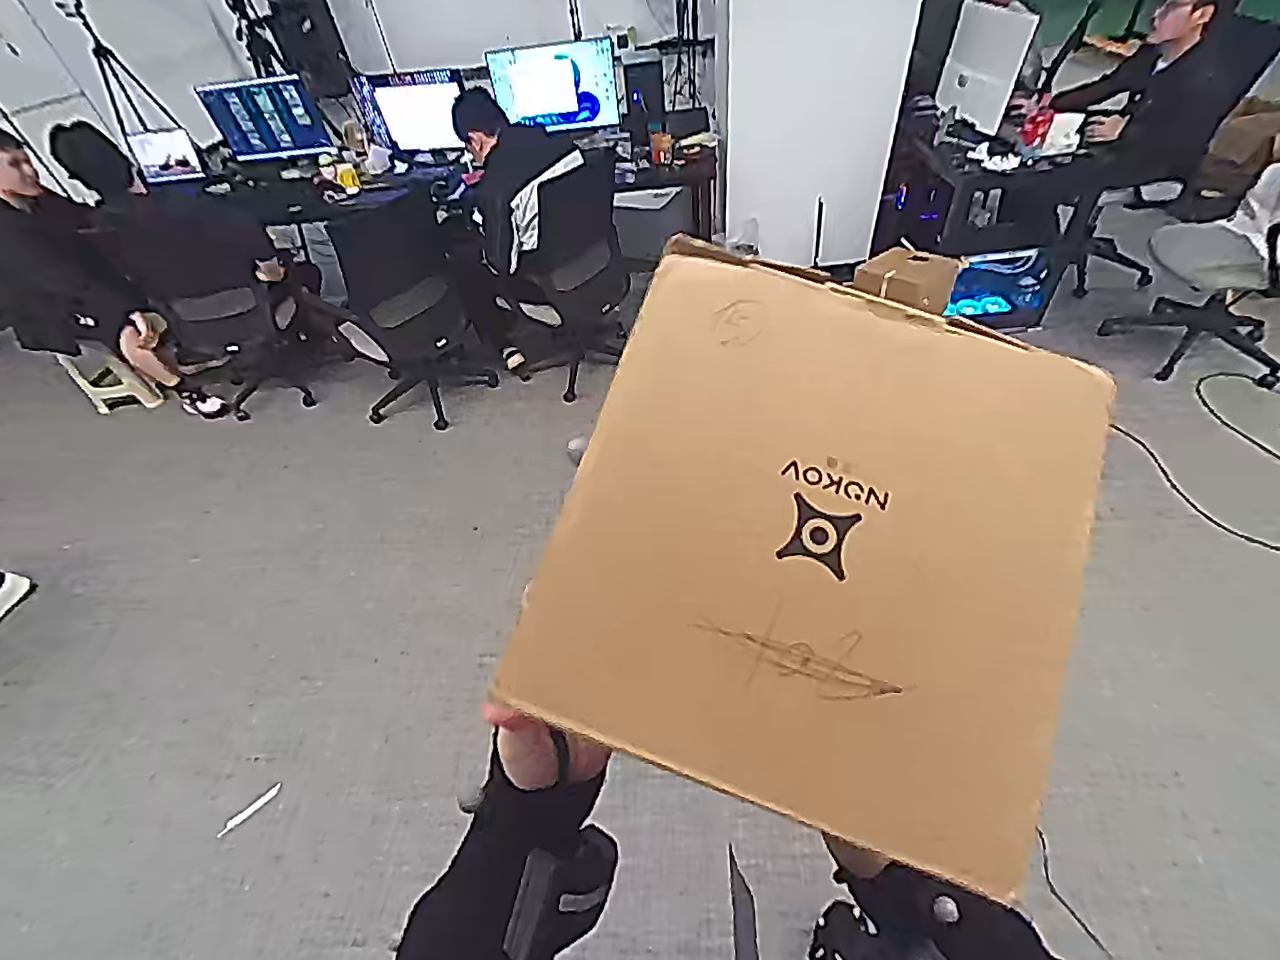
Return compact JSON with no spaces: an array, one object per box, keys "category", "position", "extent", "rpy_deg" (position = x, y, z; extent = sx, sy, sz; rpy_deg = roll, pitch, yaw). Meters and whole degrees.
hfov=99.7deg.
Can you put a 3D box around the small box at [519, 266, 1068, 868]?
[{"category":"small box","position":[0.059,0.036,0.269],"extent":[0.168,0.176,0.179],"rpy_deg":[17,78,3]}]
